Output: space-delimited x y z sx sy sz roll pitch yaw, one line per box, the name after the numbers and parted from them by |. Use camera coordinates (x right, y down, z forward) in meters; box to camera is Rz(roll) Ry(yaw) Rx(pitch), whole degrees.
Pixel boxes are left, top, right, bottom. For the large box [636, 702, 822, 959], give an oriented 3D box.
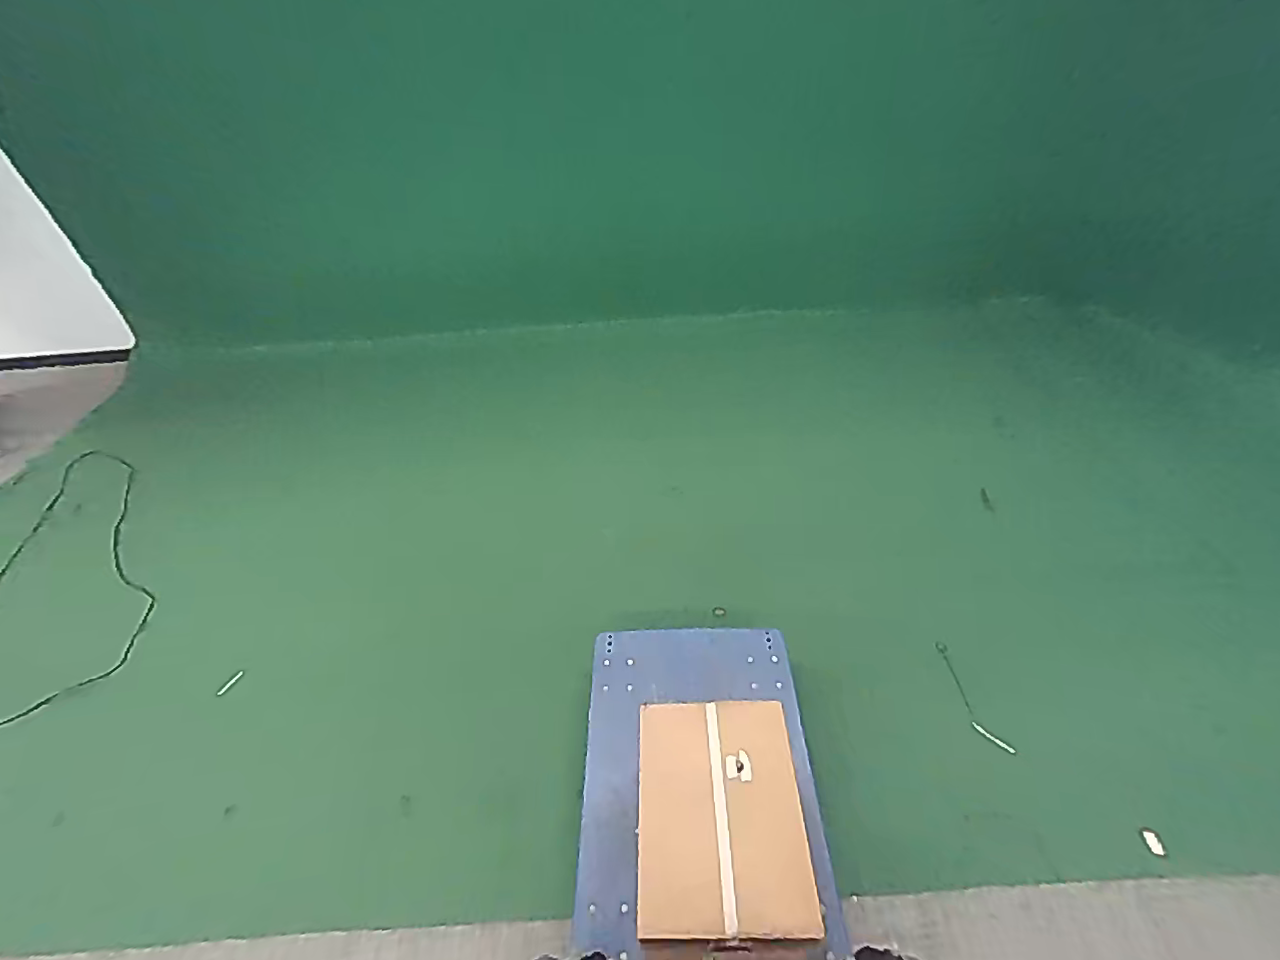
0.159 0.742 1.144 0.320 0.320 0.408 -2 41 2 | large box
